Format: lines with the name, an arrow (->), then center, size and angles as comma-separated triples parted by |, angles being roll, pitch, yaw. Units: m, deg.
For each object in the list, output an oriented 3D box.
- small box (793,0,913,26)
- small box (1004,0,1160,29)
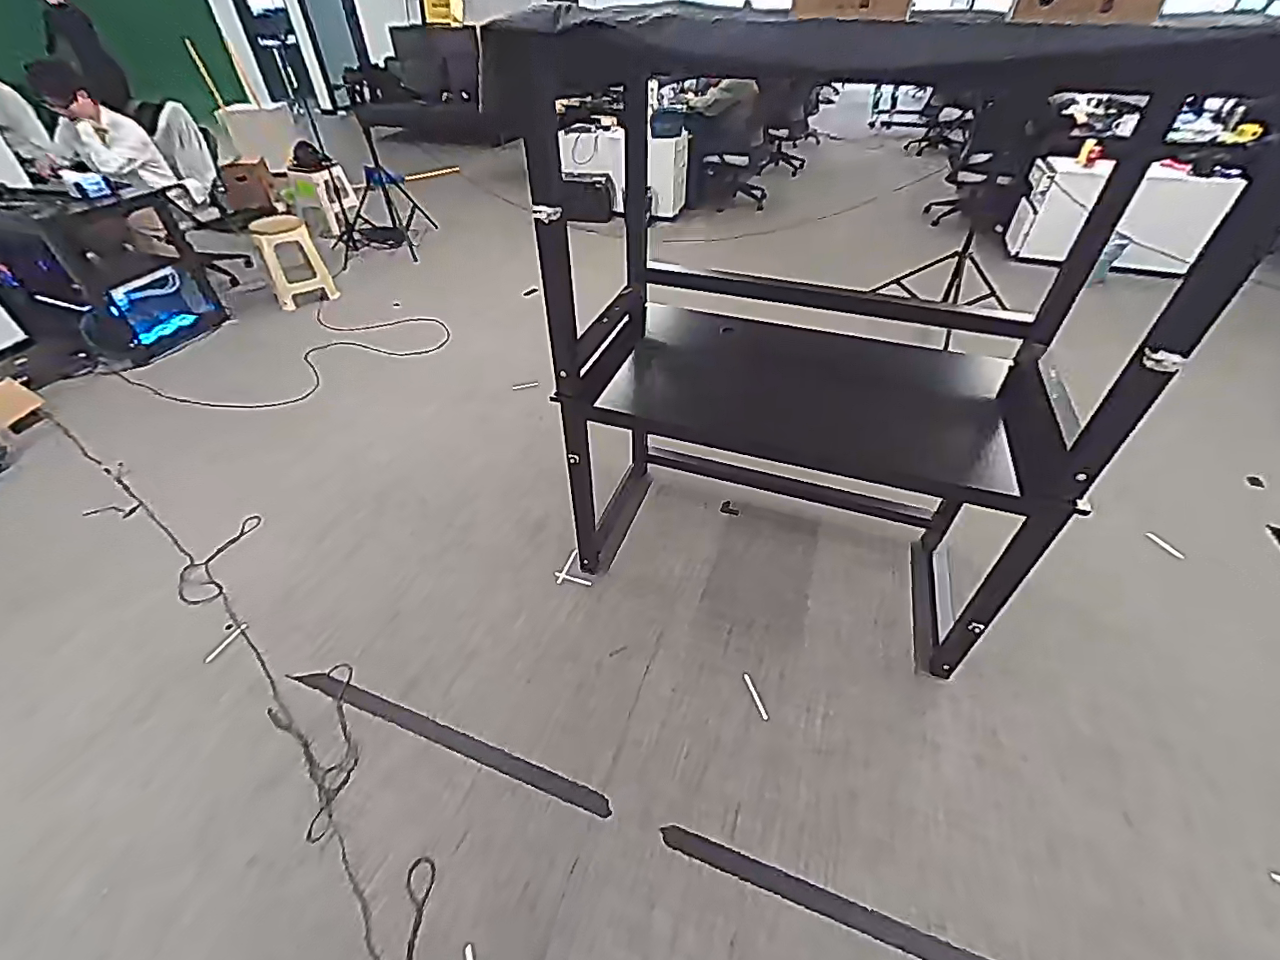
small box -> 0.330, -0.781, 0.793 | 0.168, 0.176, 0.179 | 14, 42, 16
small box -> 0.612, -0.713, 0.719 | 0.168, 0.176, 0.179 | 17, 43, 18
